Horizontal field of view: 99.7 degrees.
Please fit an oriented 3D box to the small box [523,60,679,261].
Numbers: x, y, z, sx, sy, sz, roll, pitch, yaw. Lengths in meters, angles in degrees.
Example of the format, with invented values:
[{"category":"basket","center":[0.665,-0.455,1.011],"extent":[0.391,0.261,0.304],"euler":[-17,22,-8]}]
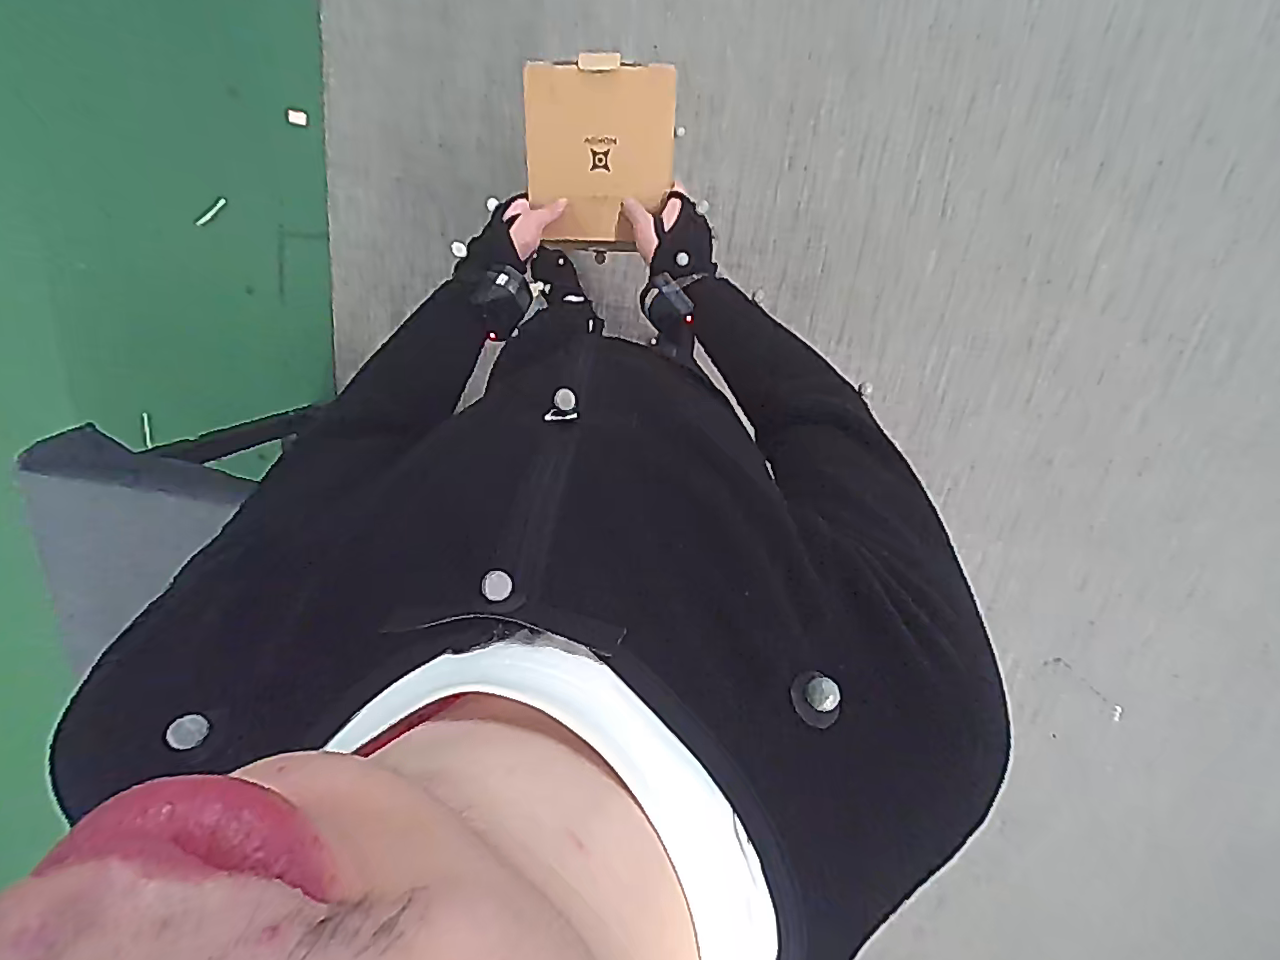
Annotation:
[{"category":"small box","center":[-0.044,-0.374,0.664],"extent":[0.168,0.176,0.179],"euler":[4,109,1]}]
